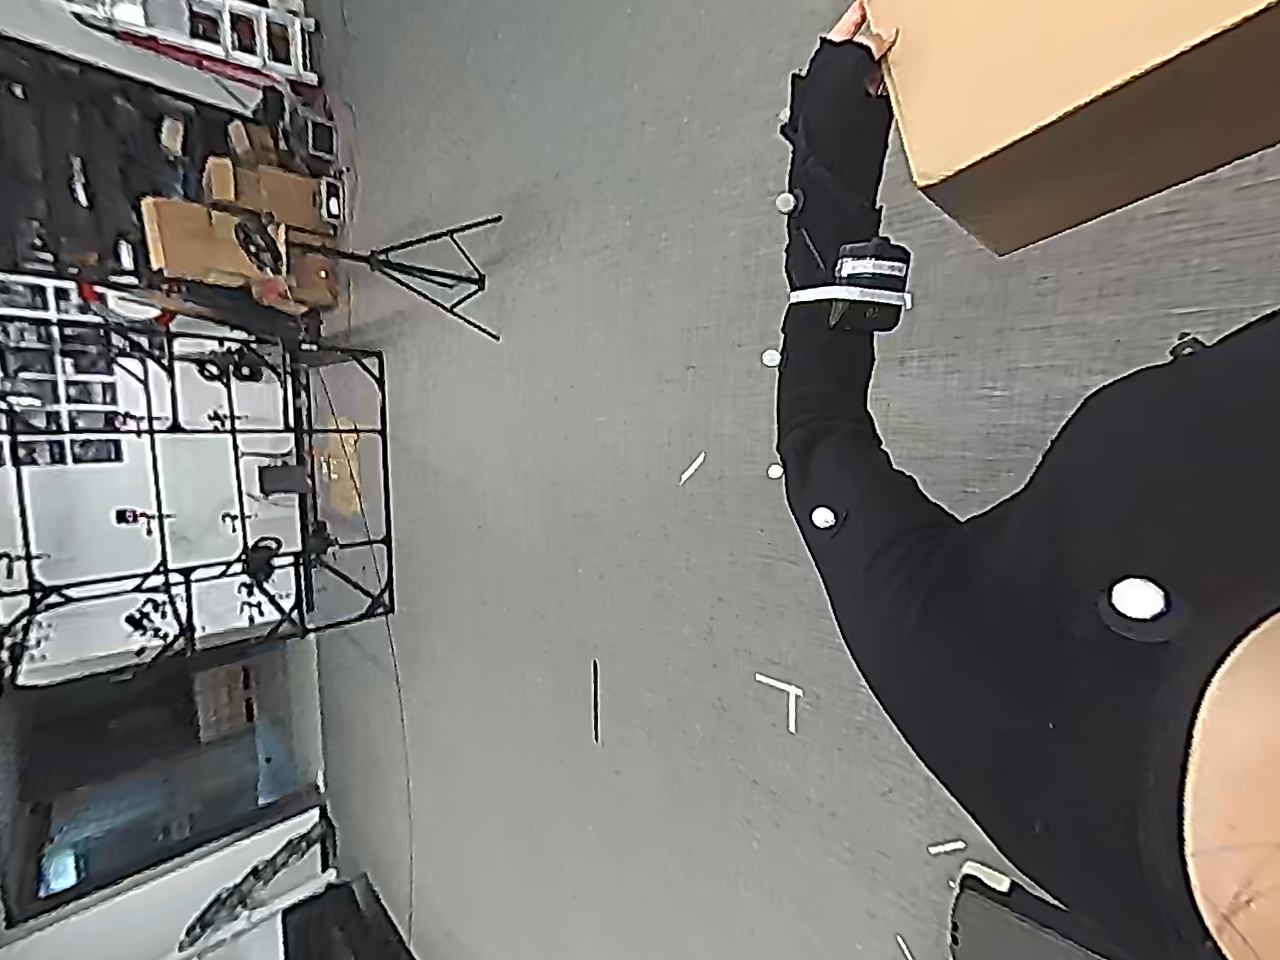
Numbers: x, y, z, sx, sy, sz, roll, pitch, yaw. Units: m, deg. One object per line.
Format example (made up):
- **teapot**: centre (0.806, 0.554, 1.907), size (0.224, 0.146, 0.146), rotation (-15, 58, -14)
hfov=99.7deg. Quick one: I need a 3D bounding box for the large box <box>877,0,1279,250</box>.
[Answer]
- **large box**: centre (0.411, -0.428, 0.381), size (0.408, 0.320, 0.320), rotation (-17, 87, 43)
